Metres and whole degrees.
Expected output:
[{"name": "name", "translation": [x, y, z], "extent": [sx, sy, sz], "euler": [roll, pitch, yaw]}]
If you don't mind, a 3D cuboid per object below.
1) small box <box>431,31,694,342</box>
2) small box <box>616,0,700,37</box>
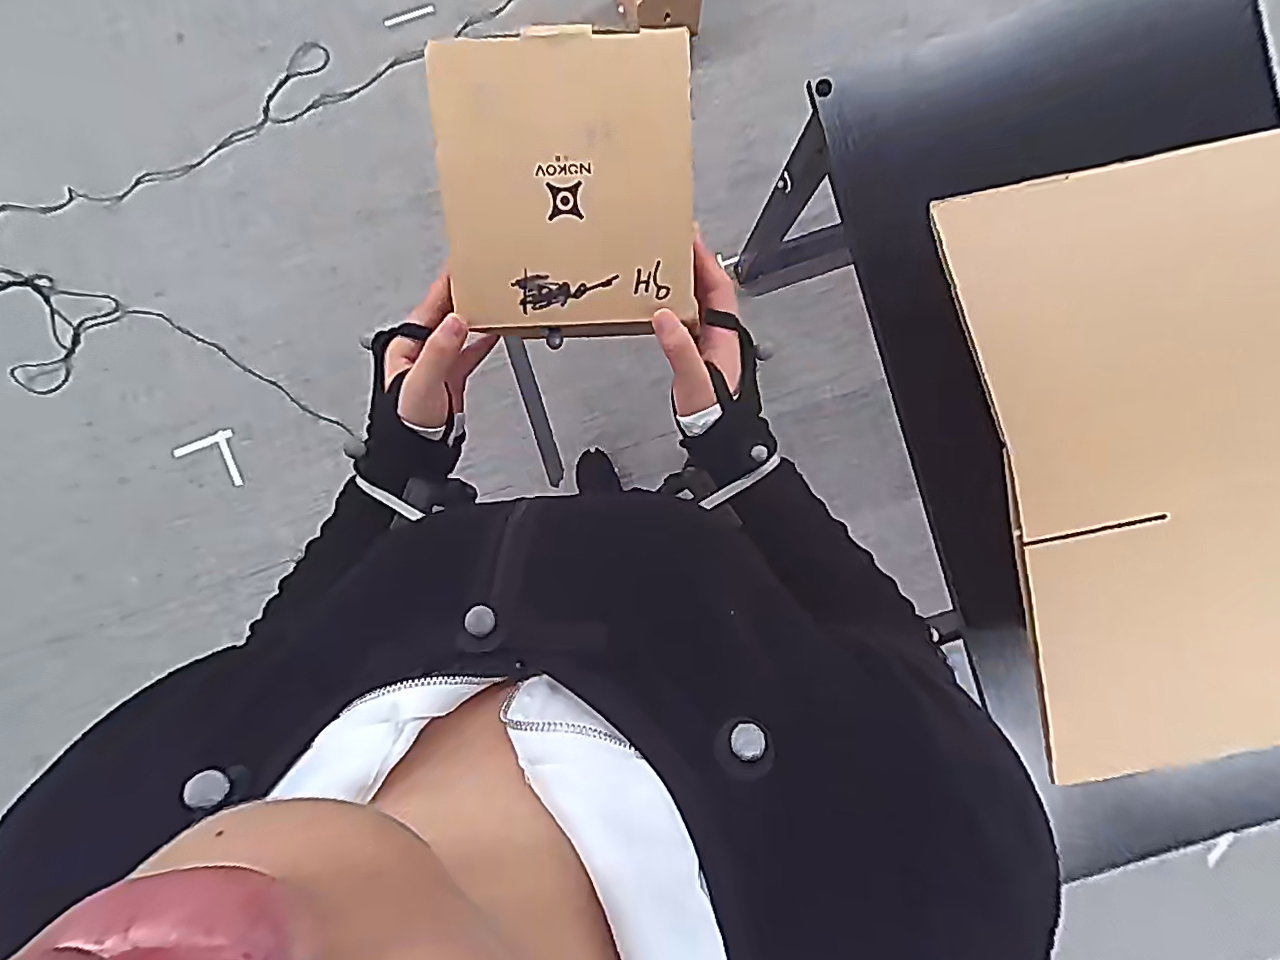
[{"name": "small box", "translation": [-0.048, -0.207, 0.430], "extent": [0.168, 0.176, 0.179], "euler": [-2, 102, 1]}, {"name": "small box", "translation": [0.042, -1.218, 1.349], "extent": [0.179, 0.176, 0.168], "euler": [-21, 93, 2]}]
